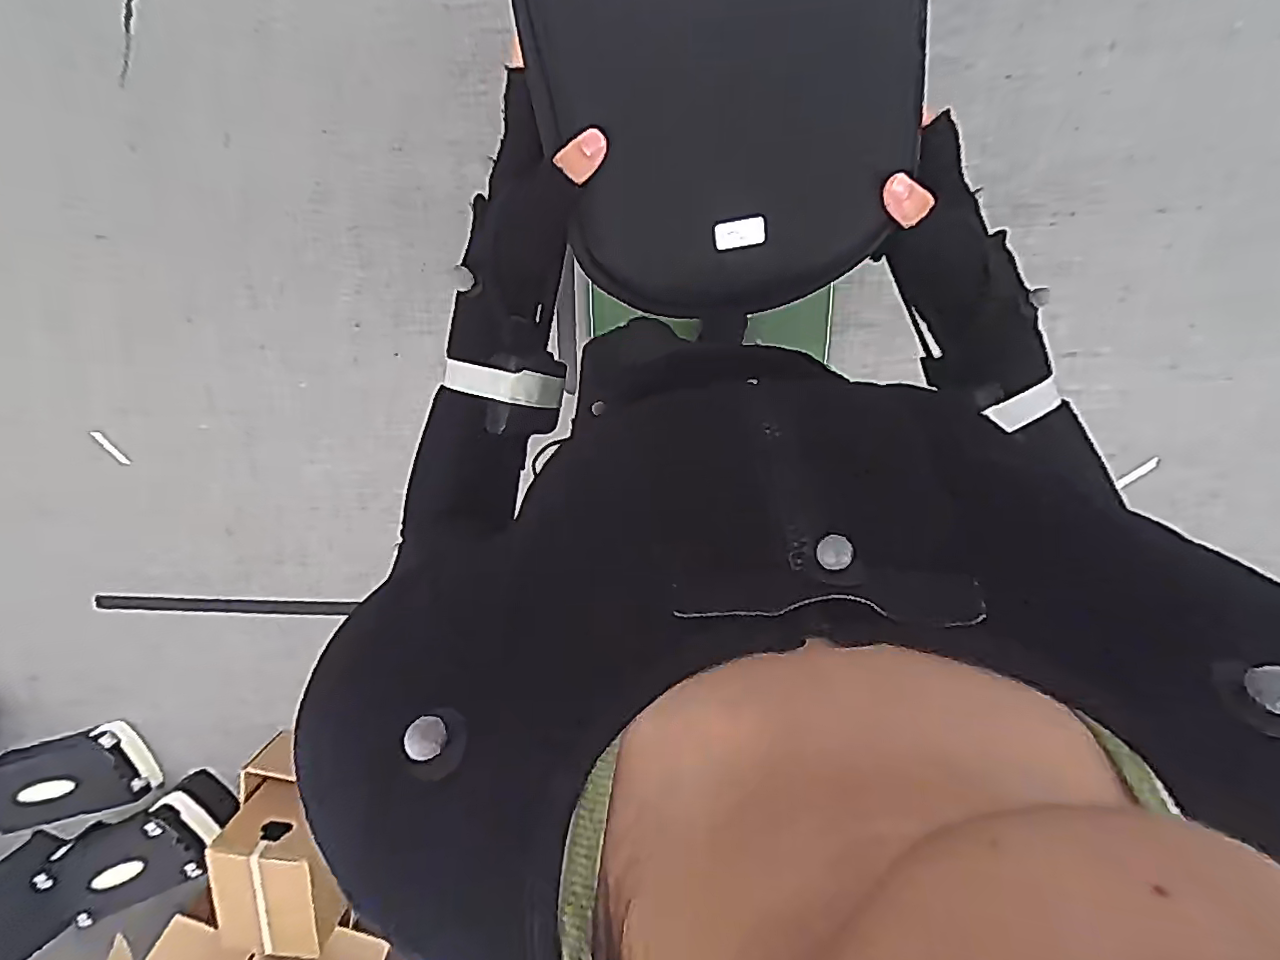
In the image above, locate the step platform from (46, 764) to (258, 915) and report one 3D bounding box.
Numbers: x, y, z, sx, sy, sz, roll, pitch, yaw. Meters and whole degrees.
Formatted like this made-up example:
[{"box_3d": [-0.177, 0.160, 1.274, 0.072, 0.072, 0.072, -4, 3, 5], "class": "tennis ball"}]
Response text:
[{"box_3d": [-1.763, 1.303, 1.955, 0.684, 0.204, 0.286, -28, 103, 11], "class": "step platform"}]
